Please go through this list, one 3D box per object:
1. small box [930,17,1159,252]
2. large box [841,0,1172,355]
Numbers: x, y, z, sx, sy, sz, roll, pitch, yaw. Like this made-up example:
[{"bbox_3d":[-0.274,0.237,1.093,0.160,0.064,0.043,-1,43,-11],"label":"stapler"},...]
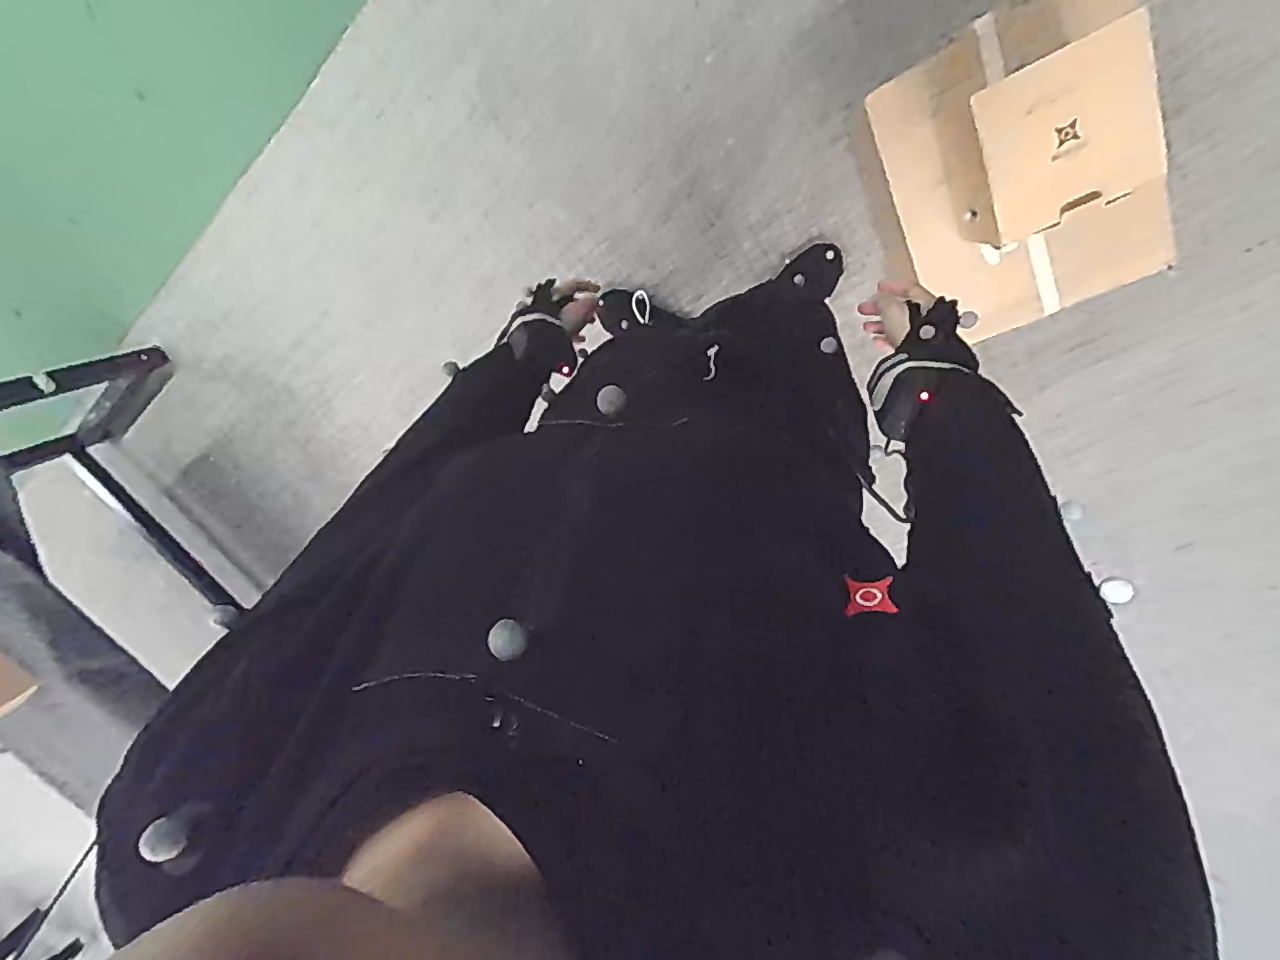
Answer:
[{"bbox_3d":[0.489,-0.411,0.676,0.168,0.176,0.179,-21,108,21],"label":"small box"},{"bbox_3d":[0.568,-0.485,0.898,0.320,0.320,0.408,-21,110,24],"label":"large box"}]
